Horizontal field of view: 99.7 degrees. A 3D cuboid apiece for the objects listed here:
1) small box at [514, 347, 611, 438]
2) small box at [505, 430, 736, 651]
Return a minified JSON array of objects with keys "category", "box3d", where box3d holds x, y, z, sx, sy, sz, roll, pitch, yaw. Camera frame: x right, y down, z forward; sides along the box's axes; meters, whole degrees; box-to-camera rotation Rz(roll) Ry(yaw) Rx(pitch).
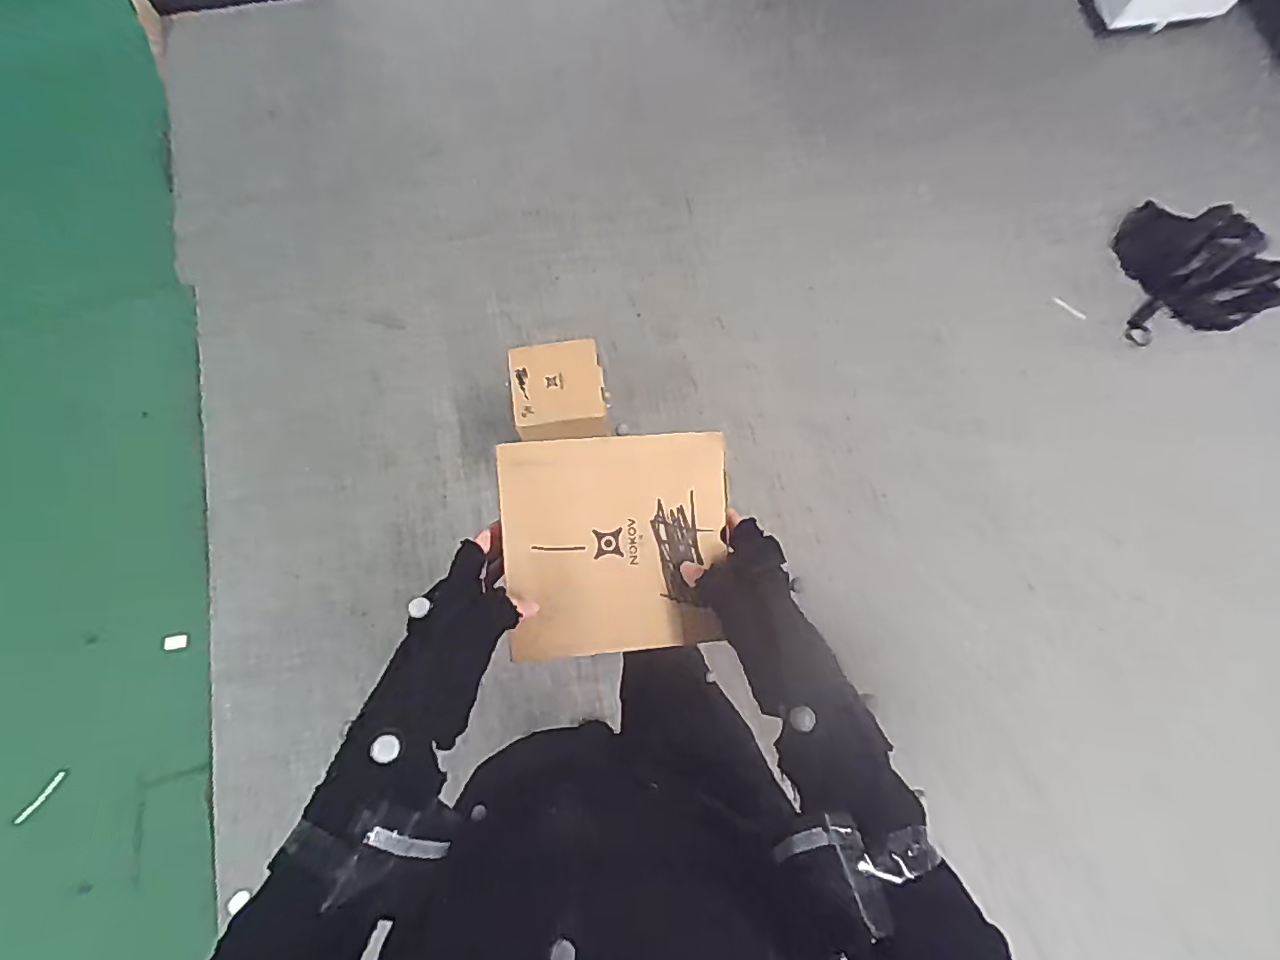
[{"category":"small box","box3d":[-0.157,-0.157,1.128,0.179,0.176,0.168,-7,76,-4]},{"category":"small box","box3d":[-0.023,0.044,0.499,0.179,0.176,0.168,-4,90,-6]}]
